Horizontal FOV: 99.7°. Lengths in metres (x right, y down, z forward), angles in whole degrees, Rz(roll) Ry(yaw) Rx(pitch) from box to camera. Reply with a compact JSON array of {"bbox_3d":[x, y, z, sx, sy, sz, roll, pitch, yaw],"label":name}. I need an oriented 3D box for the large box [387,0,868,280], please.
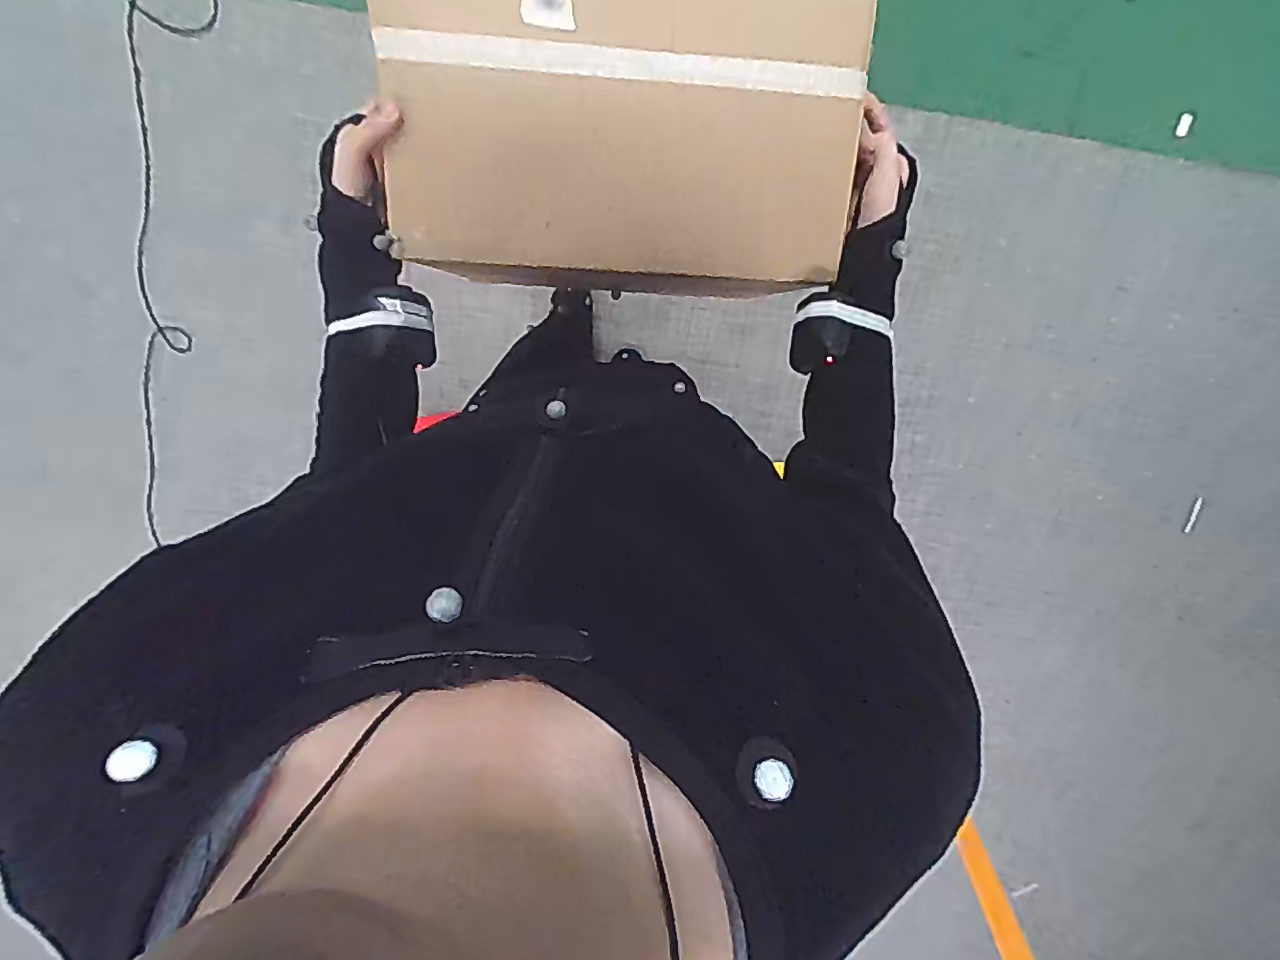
[{"bbox_3d":[-0.015,-0.397,0.598,0.408,0.320,0.320,2,106,-4],"label":"large box"}]
